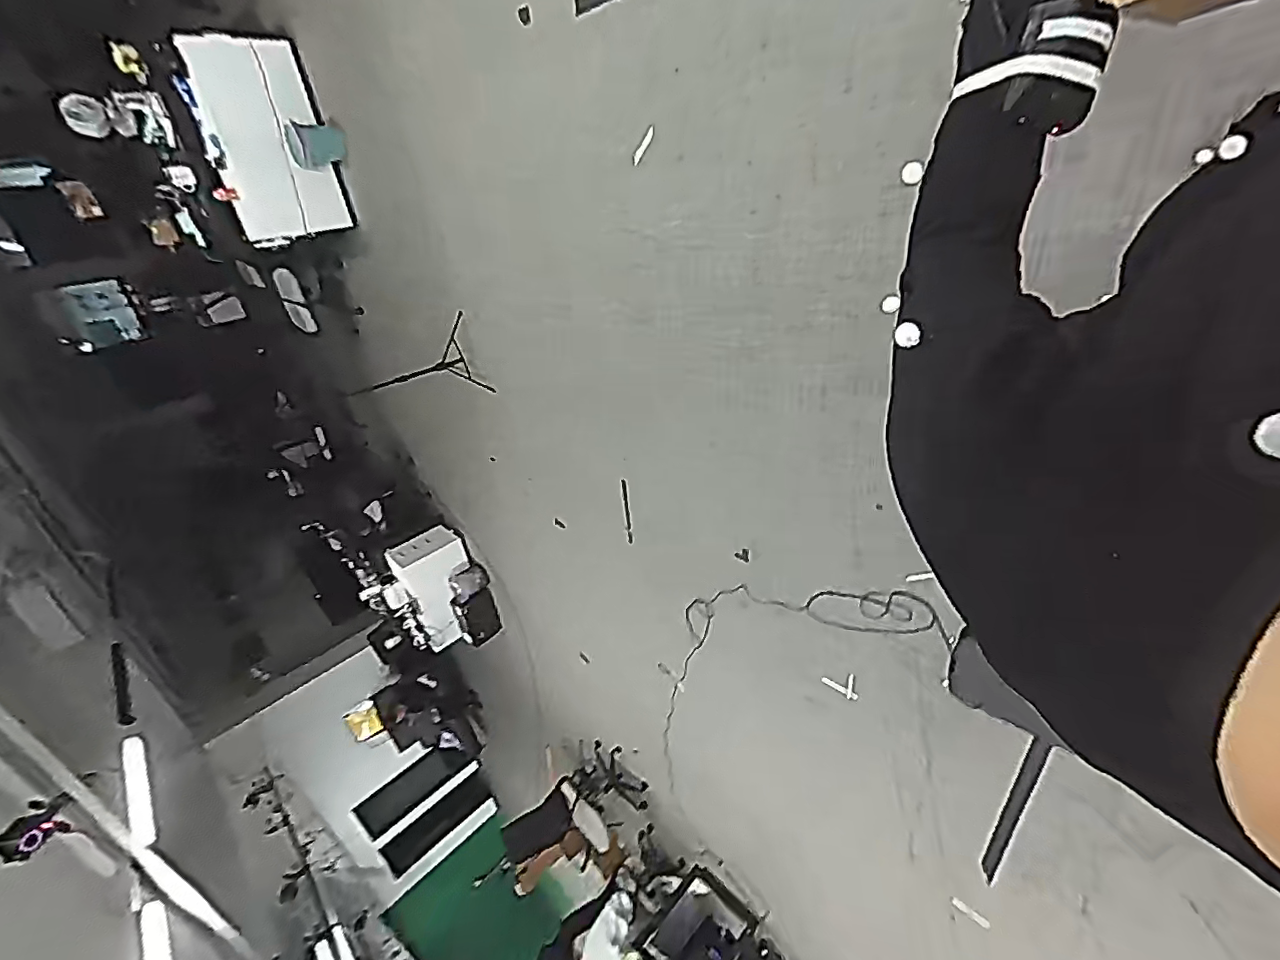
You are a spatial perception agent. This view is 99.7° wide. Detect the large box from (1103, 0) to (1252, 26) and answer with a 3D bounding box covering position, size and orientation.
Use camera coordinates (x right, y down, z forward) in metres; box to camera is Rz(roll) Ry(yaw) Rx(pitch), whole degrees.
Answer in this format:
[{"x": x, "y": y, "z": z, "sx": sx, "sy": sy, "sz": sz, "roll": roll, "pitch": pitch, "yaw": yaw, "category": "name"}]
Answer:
[{"x": 0.517, "y": -0.498, "z": 0.259, "sx": 0.408, "sy": 0.320, "sz": 0.320, "roll": 12, "pitch": 126, "yaw": 45, "category": "large box"}]
